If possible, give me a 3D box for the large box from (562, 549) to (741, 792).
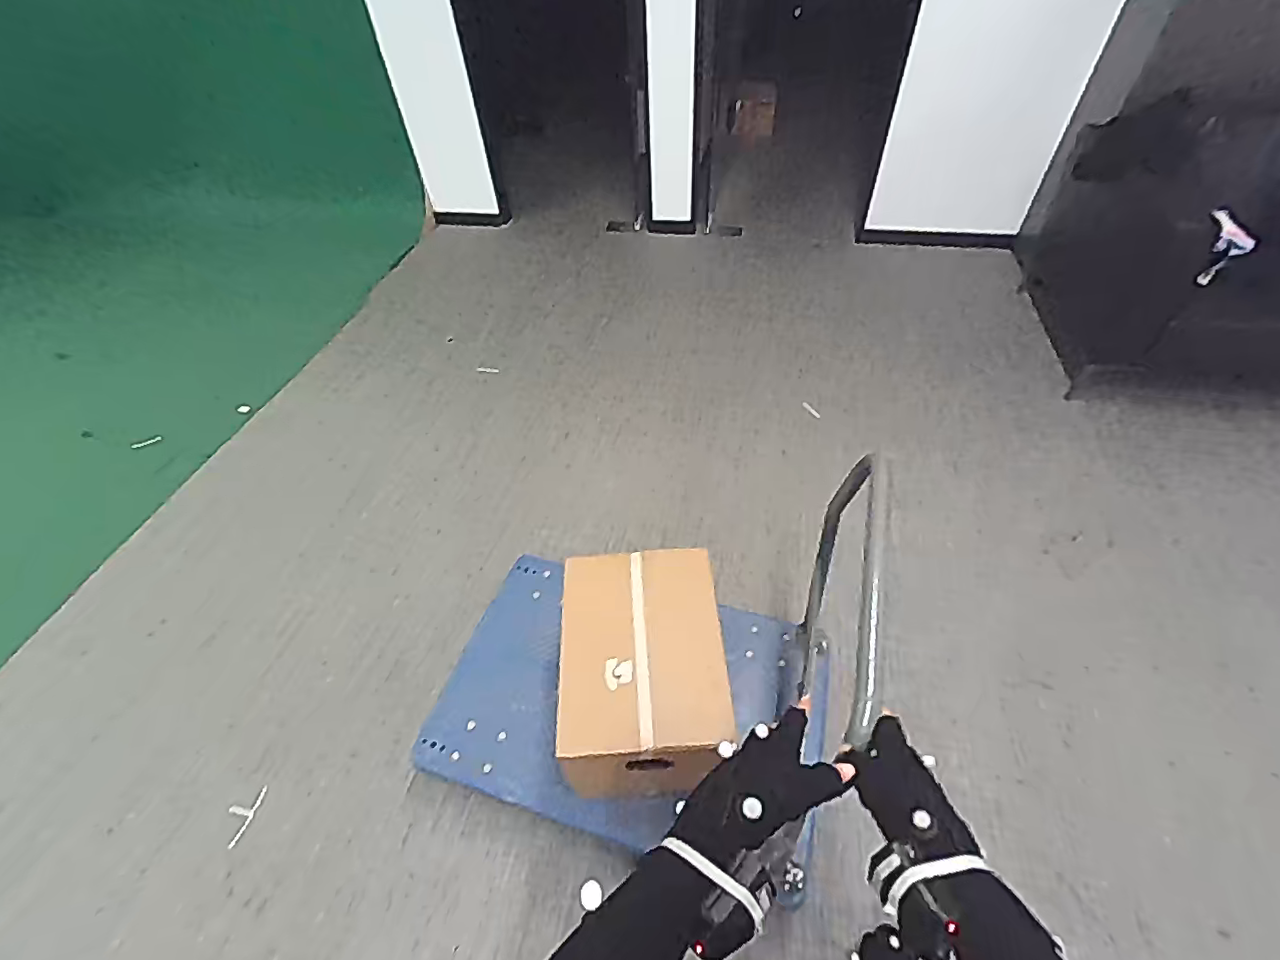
[{"bbox_3d":[0.012,0.404,1.159,0.320,0.320,0.408,-4,49,0],"label":"large box"}]
